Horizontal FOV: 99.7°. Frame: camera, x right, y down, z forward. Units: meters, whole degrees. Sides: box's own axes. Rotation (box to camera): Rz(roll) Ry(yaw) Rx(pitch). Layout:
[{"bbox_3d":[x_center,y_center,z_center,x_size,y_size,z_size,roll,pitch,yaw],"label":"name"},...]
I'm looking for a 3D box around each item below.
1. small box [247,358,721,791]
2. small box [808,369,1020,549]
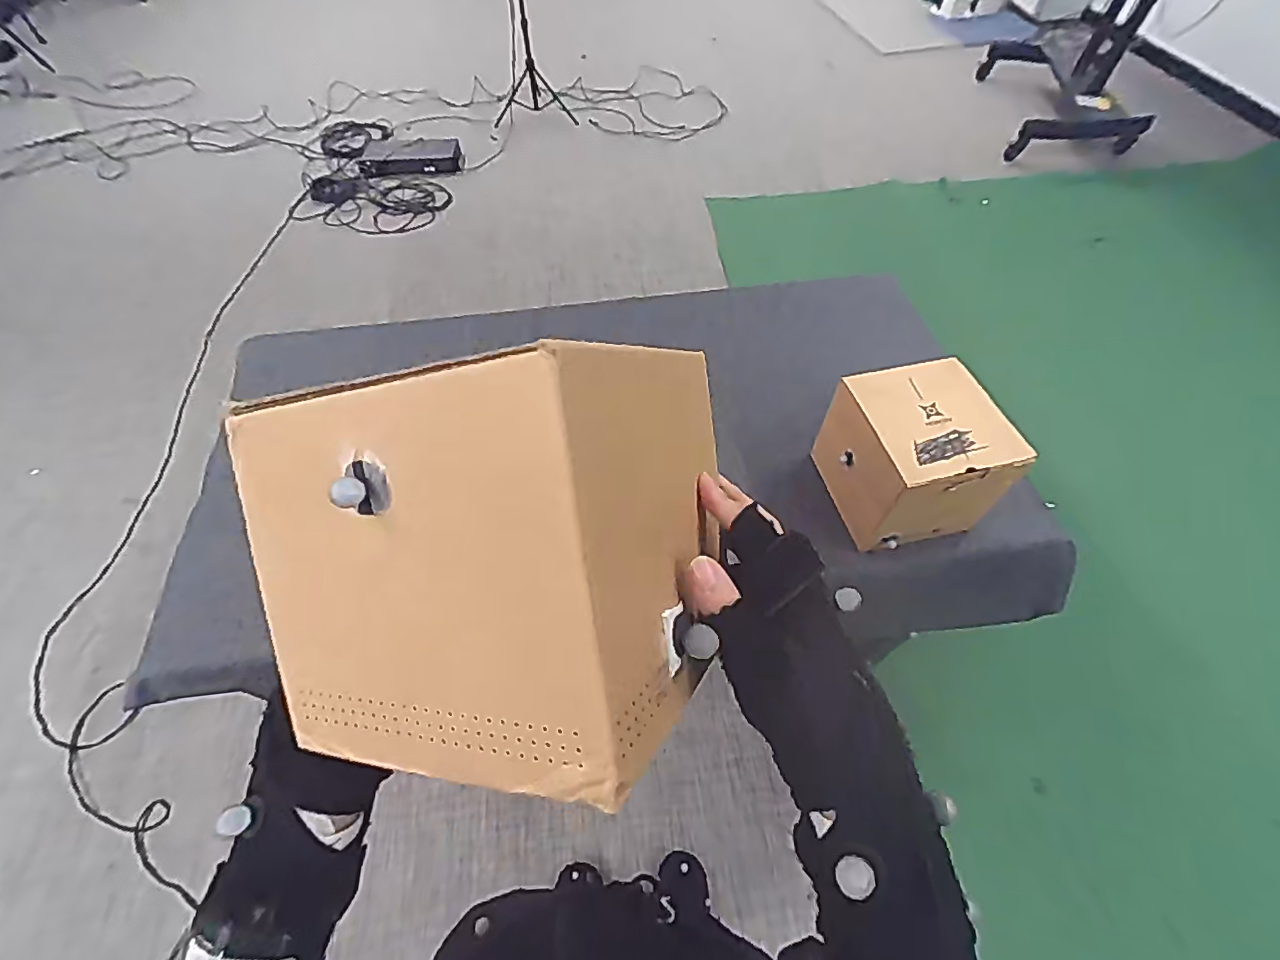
[{"bbox_3d":[-0.064,0.033,0.295,0.179,0.176,0.168,-2,10,24],"label":"small box"},{"bbox_3d":[0.352,-0.021,0.737,0.168,0.176,0.179,-10,55,-7],"label":"small box"}]
